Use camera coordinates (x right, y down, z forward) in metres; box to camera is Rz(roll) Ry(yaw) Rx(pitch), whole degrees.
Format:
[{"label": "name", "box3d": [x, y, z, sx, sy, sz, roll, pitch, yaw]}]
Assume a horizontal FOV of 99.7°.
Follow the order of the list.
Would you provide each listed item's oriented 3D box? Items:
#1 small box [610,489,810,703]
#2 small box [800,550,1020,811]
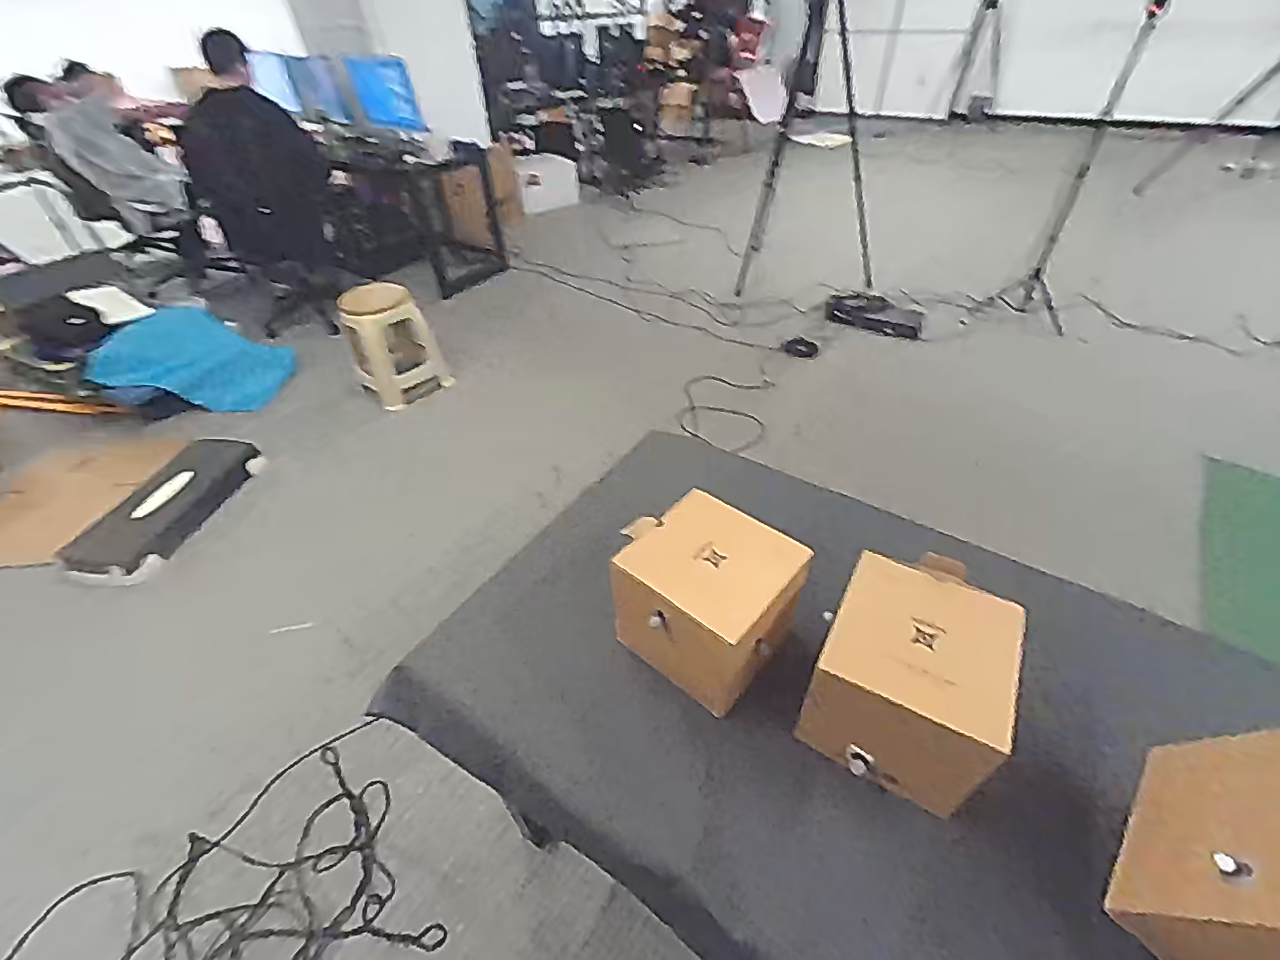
[{"label": "small box", "box3d": [0.084, 0.148, 0.680, 0.179, 0.176, 0.168, 29, 50, 31]}, {"label": "small box", "box3d": [0.288, 0.216, 0.596, 0.168, 0.176, 0.179, 19, 46, 24]}]
